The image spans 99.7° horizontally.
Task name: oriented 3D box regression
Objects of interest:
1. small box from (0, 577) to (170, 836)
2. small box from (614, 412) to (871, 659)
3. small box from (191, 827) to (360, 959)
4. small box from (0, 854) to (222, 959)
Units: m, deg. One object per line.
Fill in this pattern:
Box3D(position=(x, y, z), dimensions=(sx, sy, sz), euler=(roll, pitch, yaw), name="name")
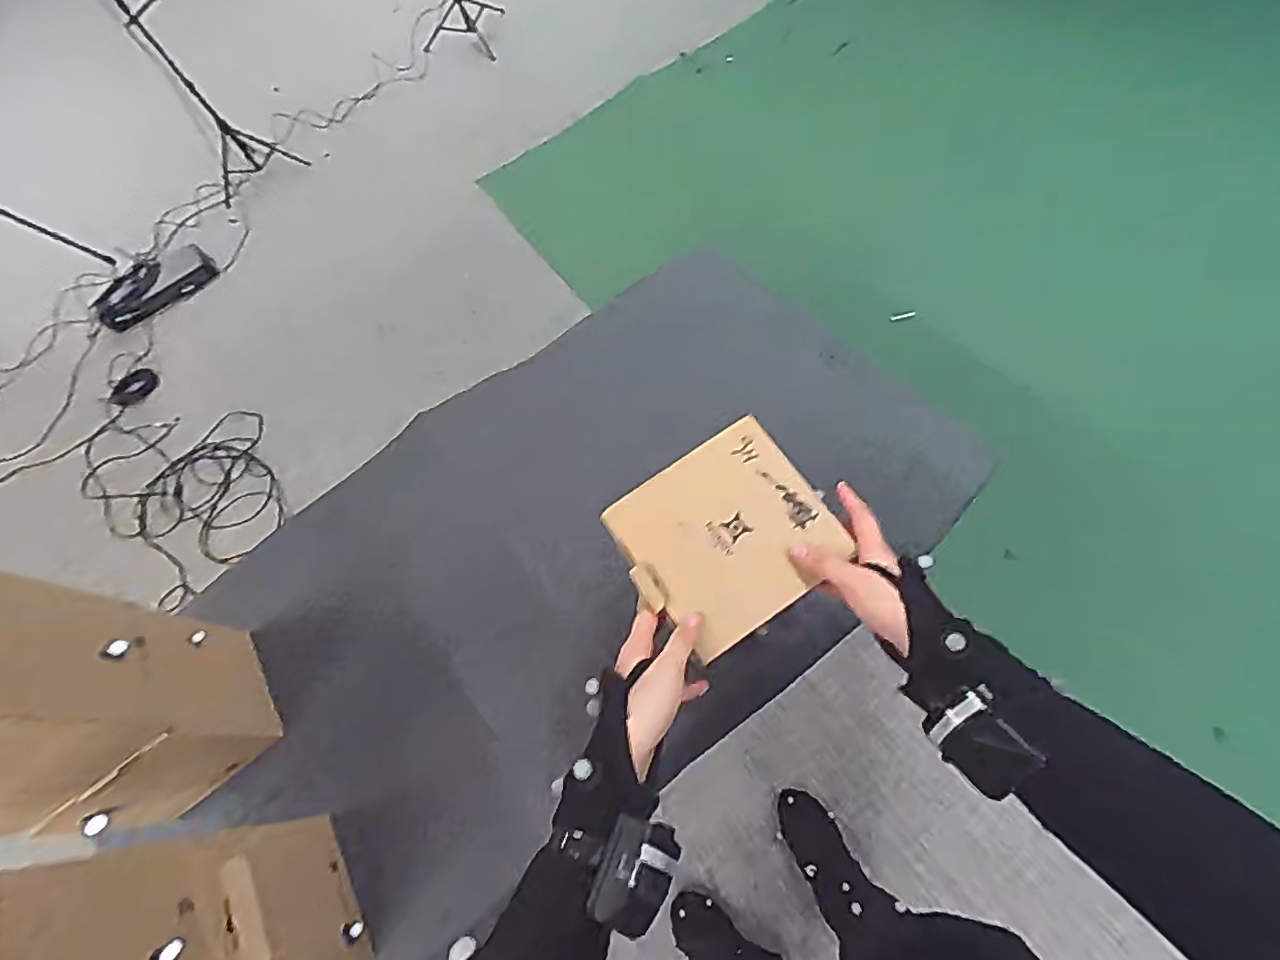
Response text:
Box3D(position=(-0.617, 0.223, 0.519), dimensions=(0.179, 0.176, 0.168), euler=(-37, 64, -8), name="small box")
Box3D(position=(0.097, 0.067, 0.562), dimensions=(0.179, 0.176, 0.168), euler=(-33, 74, -5), name="small box")
Box3D(position=(-0.414, 0.483, 0.538), dimensions=(0.179, 0.176, 0.168), euler=(-36, 63, -7), name="small box")
Box3D(position=(-0.456, 0.420, 0.394), dimensions=(0.179, 0.176, 0.168), euler=(-40, 64, -10), name="small box")
